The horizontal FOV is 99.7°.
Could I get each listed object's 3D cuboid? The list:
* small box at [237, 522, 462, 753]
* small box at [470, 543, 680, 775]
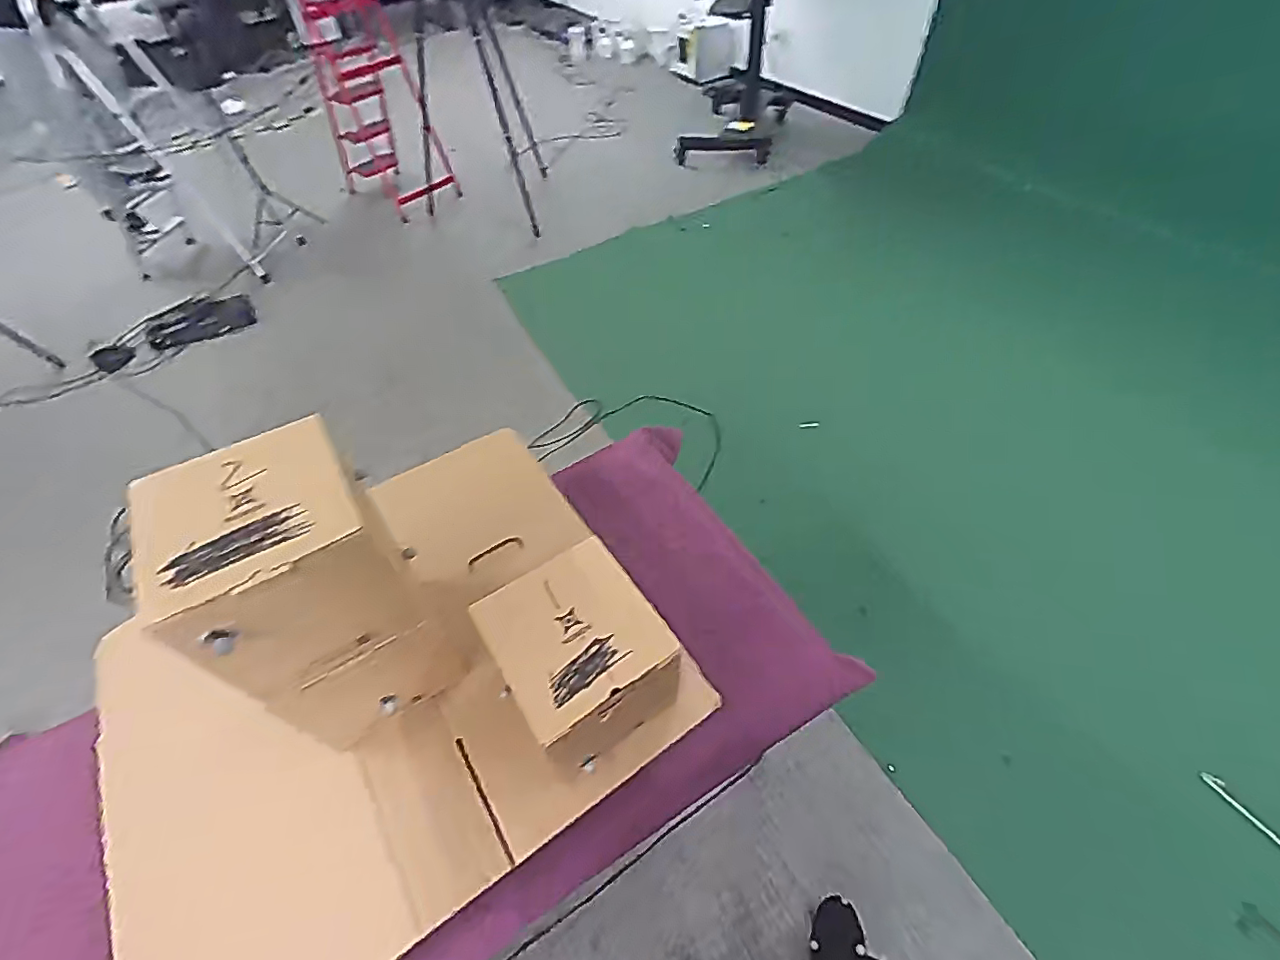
[{"bbox_3d":[-0.339,0.190,0.652,0.168,0.176,0.179,-28,56,-20],"label":"small box"},{"bbox_3d":[-0.068,0.213,0.628,0.168,0.176,0.179,-29,55,-21],"label":"small box"}]
